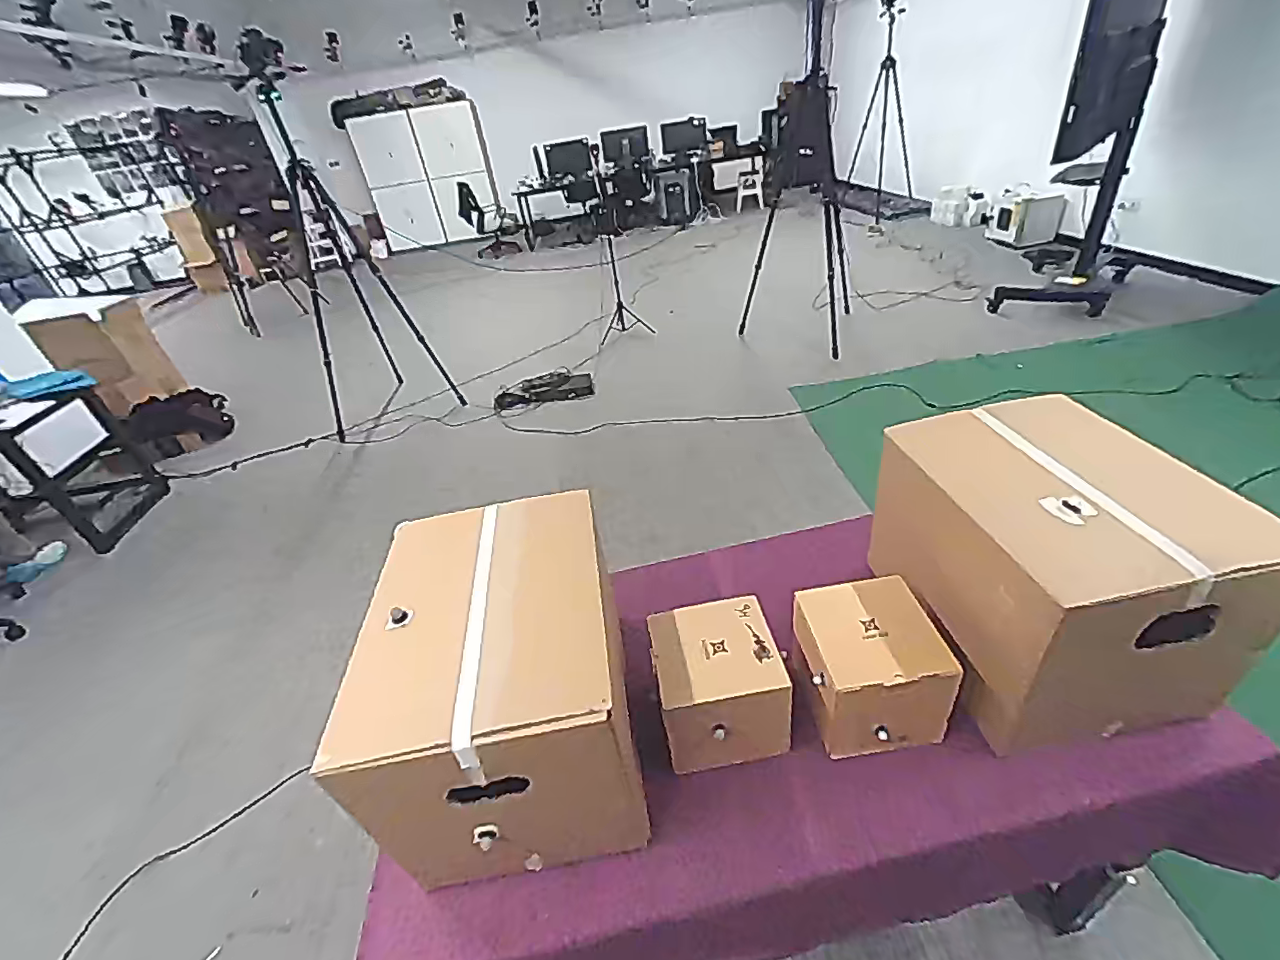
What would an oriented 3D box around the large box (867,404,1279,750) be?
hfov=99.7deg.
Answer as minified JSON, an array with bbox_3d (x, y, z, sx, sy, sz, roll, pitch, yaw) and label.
[{"bbox_3d":[0.604,0.127,0.836,0.320,0.320,0.408,-10,36,-1],"label":"large box"}]
